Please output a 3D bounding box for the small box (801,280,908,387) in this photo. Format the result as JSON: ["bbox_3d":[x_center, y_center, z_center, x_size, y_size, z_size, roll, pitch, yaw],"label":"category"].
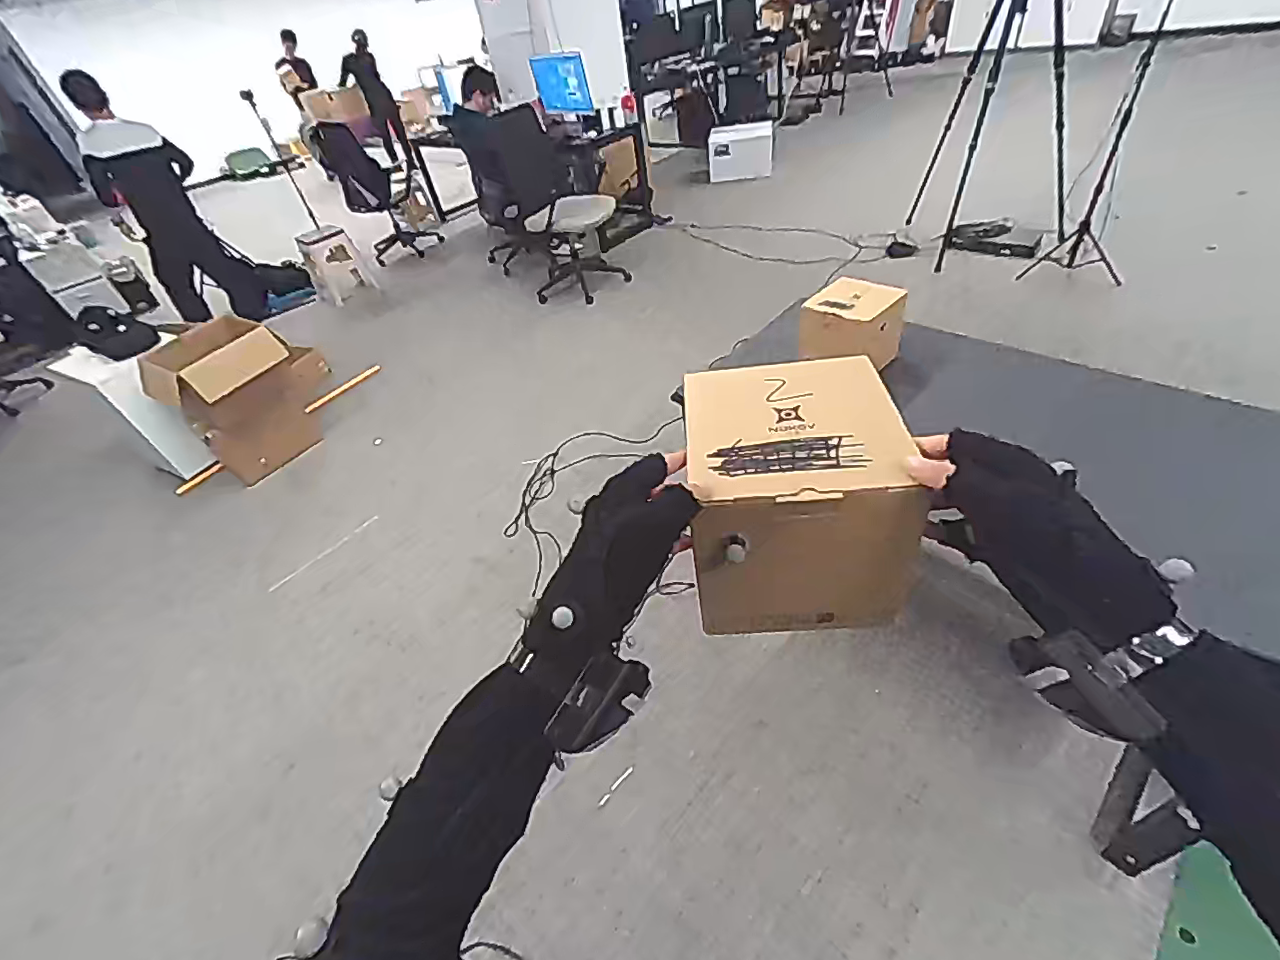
[{"bbox_3d":[0.497,-0.344,1.272,0.179,0.176,0.168,-37,48,-26],"label":"small box"}]
